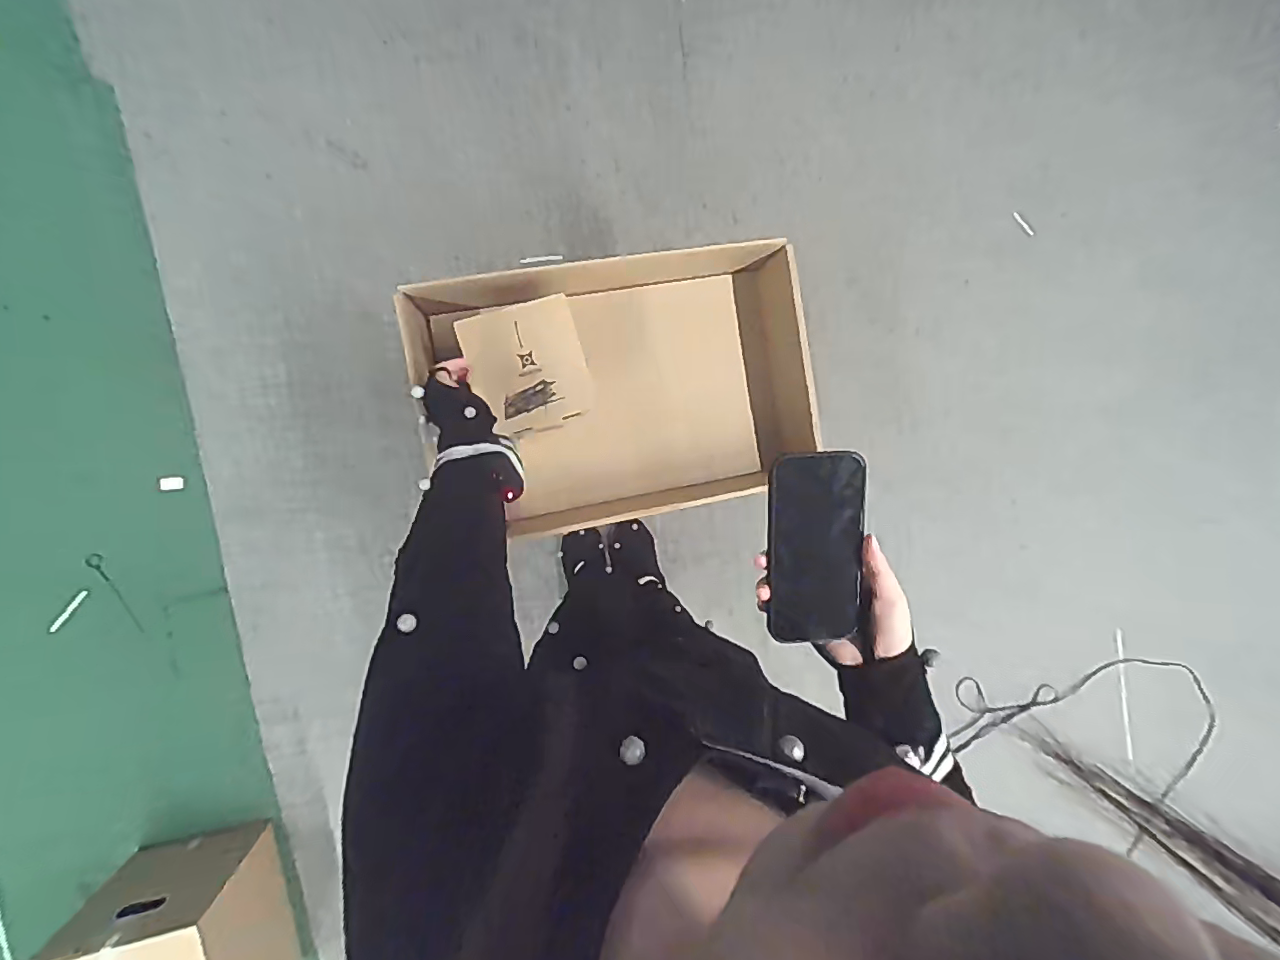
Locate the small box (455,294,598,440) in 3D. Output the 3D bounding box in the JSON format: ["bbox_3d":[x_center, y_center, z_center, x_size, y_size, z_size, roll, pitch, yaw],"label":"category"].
[{"bbox_3d":[-0.172,-0.168,0.855,0.168,0.176,0.179,-18,95,-7],"label":"small box"}]
